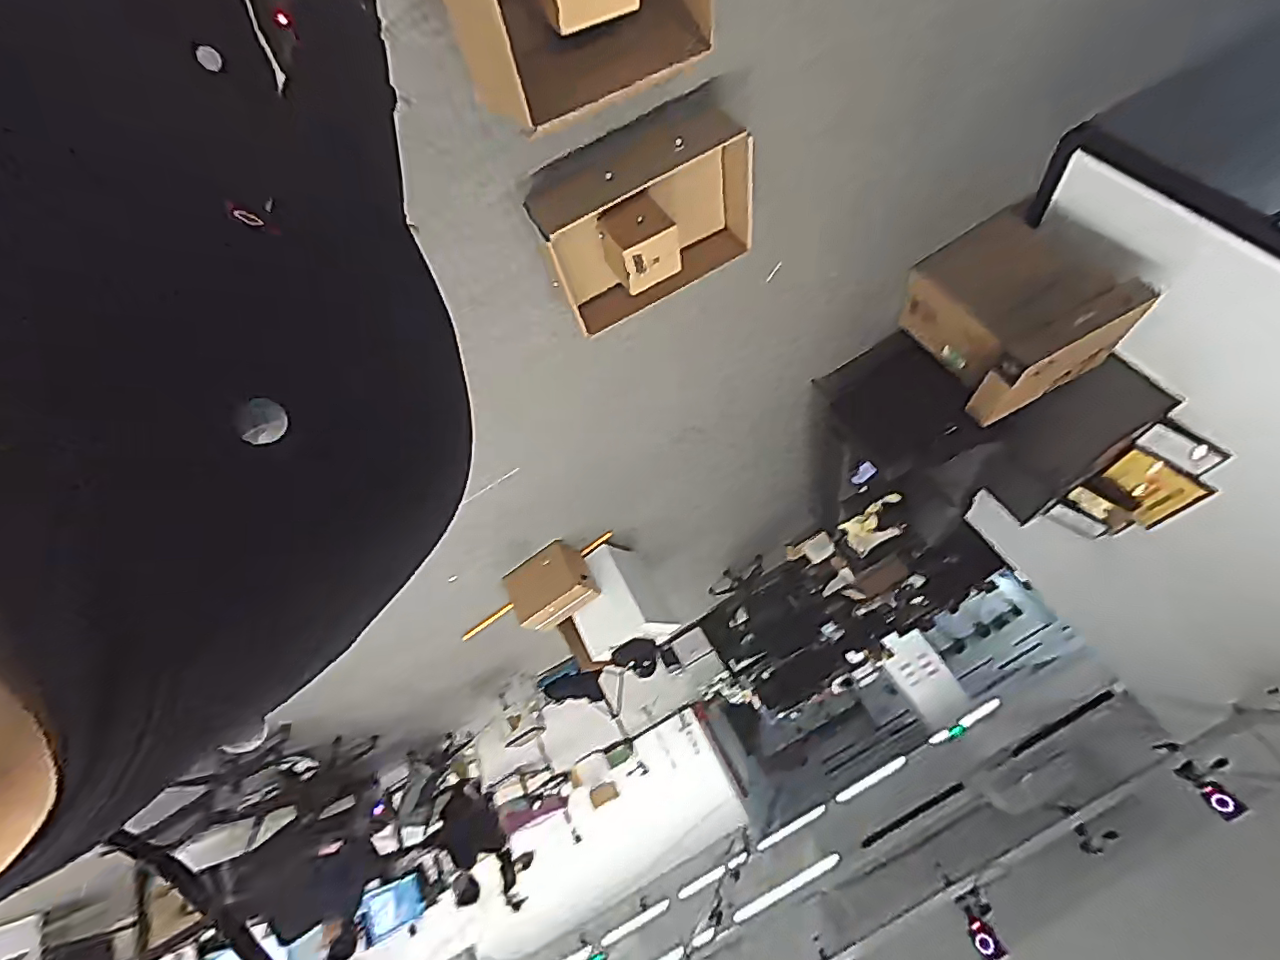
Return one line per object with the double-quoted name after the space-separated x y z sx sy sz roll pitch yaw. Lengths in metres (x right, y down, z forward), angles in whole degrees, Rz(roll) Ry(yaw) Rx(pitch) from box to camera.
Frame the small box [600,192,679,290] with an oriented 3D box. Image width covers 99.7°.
-0.005 -0.702 1.589 0.179 0.176 0.168 -30 153 -6 "small box"
